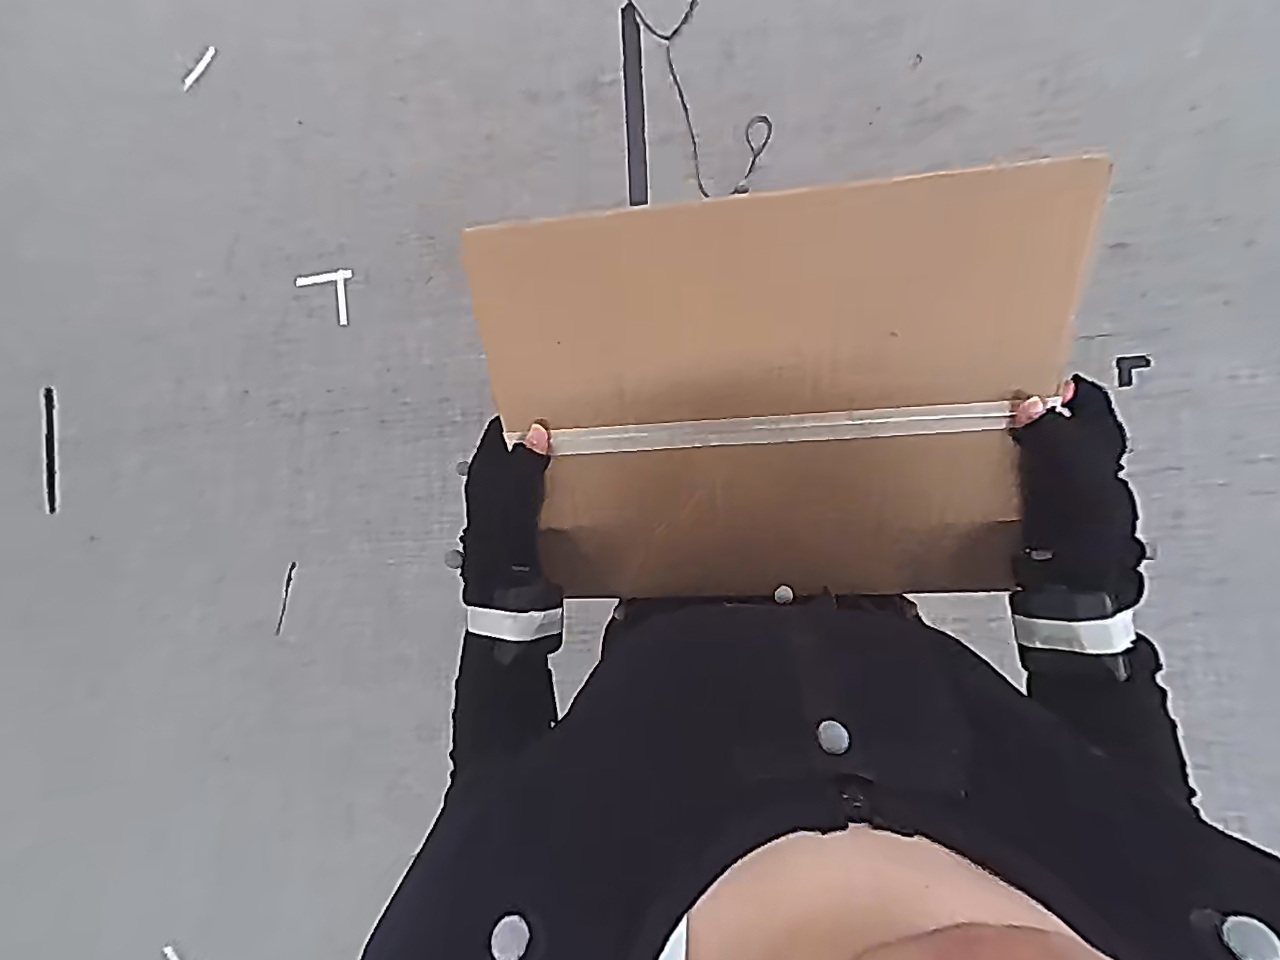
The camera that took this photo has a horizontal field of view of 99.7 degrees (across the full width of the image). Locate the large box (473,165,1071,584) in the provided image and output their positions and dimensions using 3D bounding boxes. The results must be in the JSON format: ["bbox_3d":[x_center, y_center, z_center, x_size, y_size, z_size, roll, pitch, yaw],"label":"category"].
[{"bbox_3d":[0.106,-0.114,0.558,0.408,0.320,0.320,-3,116,8],"label":"large box"}]
